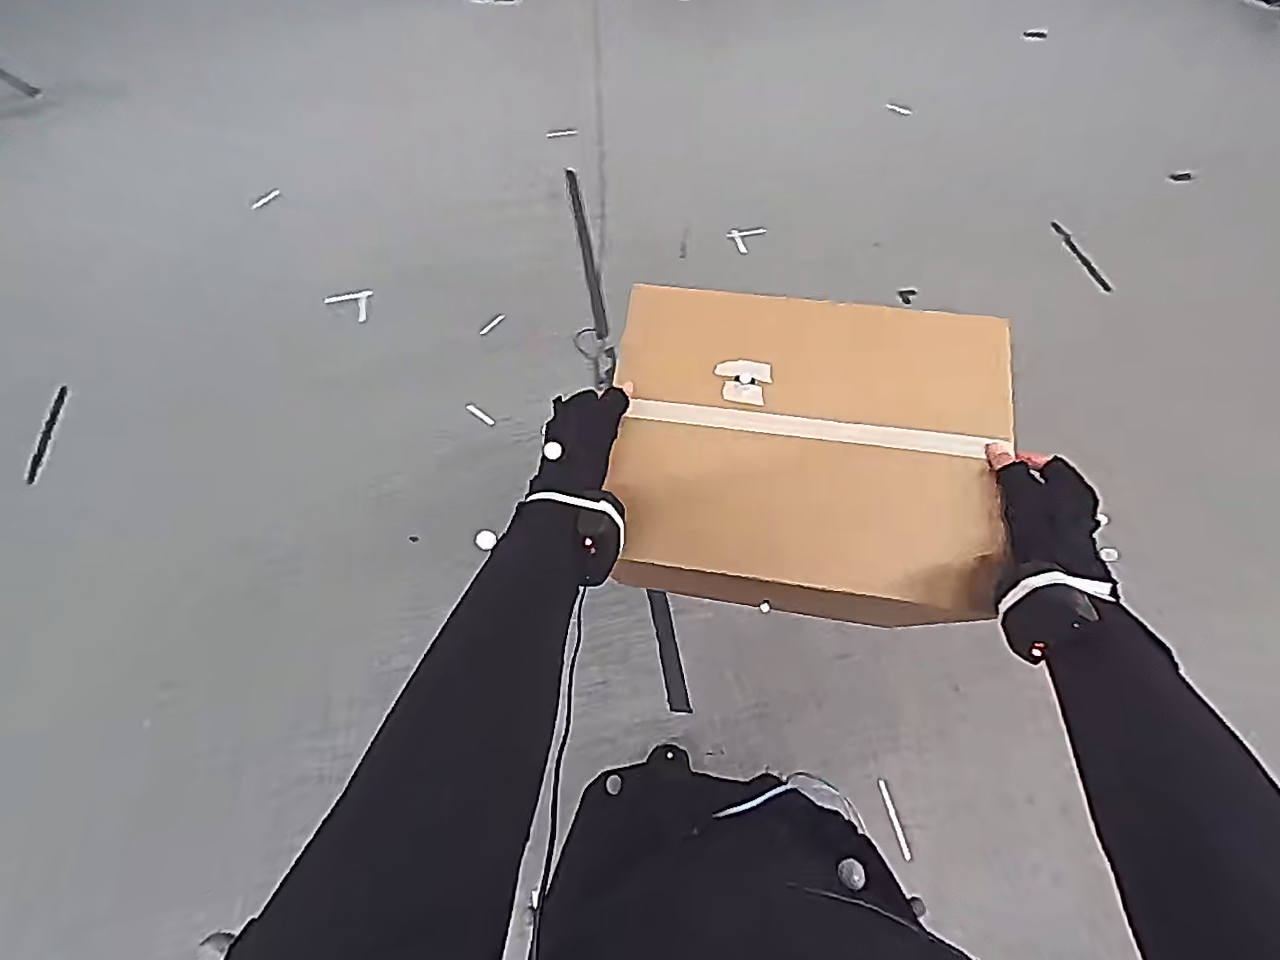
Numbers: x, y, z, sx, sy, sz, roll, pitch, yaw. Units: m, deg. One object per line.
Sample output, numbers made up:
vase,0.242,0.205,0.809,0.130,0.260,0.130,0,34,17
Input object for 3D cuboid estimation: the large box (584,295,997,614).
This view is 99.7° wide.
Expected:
large box,0.173,-0.009,0.708,0.408,0.320,0.320,7,73,8
